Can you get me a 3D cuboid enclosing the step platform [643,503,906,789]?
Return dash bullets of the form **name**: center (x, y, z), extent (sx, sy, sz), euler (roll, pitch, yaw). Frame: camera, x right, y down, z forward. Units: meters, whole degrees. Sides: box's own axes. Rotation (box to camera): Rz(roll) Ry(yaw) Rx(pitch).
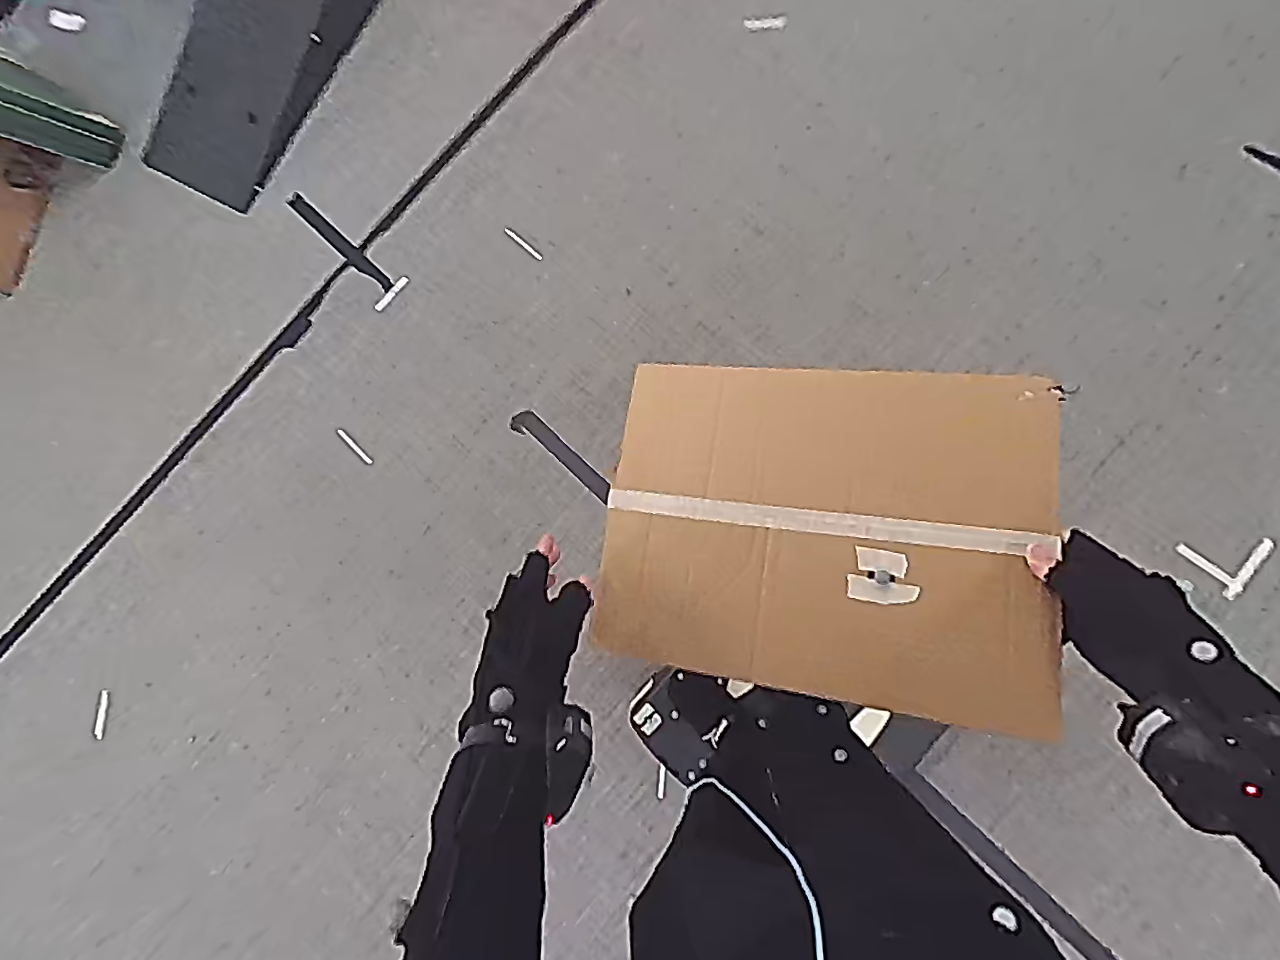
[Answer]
- **step platform**: center (0.315, 0.383, 1.313), extent (0.286, 0.204, 0.684), euler (40, 87, 11)
